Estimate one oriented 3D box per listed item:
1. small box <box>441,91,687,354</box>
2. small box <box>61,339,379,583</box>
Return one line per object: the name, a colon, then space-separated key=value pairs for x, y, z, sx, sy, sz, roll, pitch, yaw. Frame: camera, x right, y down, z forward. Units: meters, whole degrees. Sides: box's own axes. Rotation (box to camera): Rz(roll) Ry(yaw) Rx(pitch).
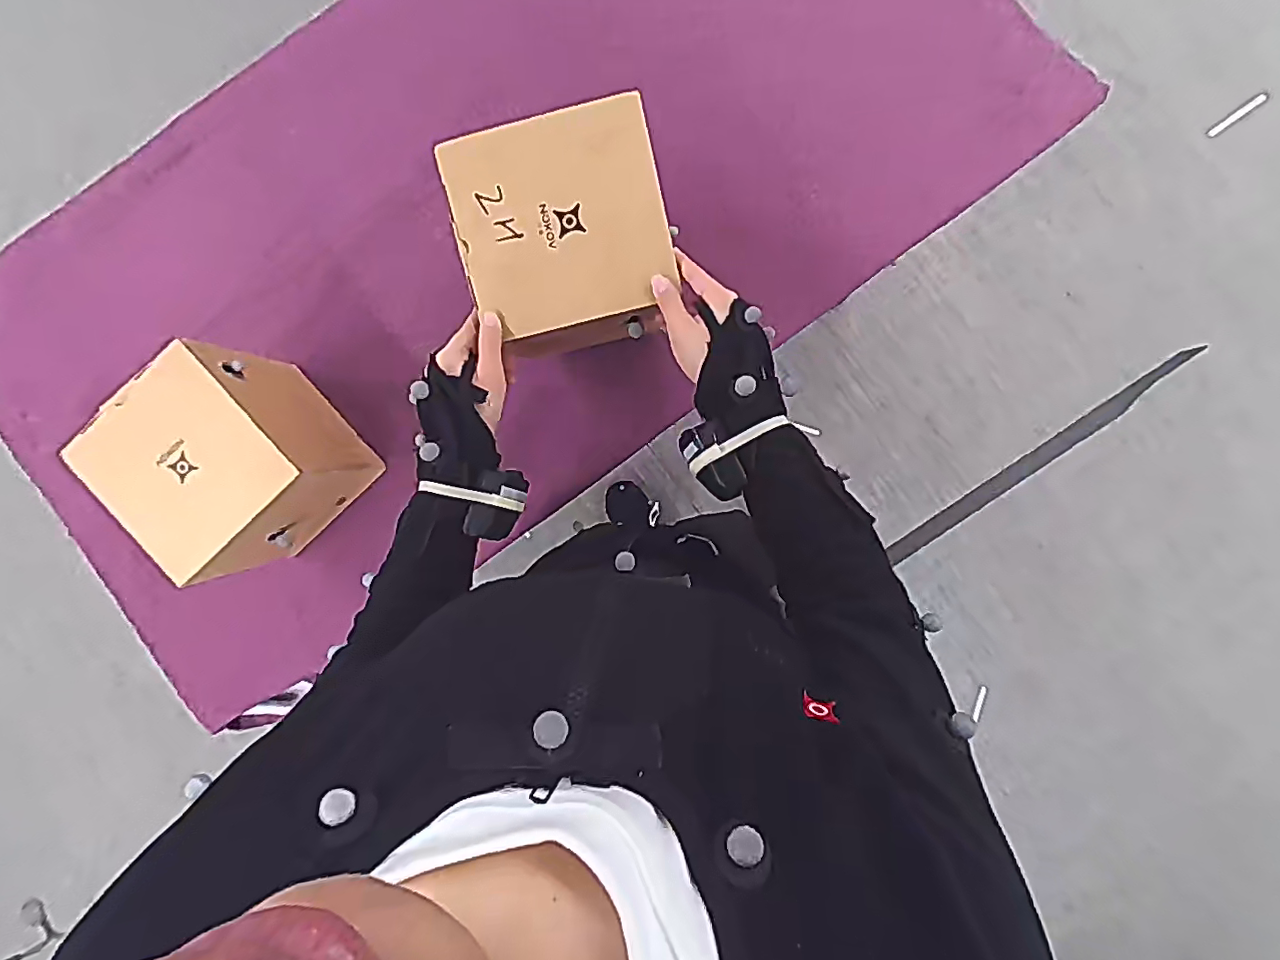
small box: x=-0.060 y=-0.225 z=0.522 sx=0.179 sy=0.176 sz=0.168 roll=-12 pitch=97 yaw=4
small box: x=-0.430 y=-0.021 z=0.588 sx=0.168 sy=0.176 sz=0.179 roll=-43 pitch=89 yaw=3
